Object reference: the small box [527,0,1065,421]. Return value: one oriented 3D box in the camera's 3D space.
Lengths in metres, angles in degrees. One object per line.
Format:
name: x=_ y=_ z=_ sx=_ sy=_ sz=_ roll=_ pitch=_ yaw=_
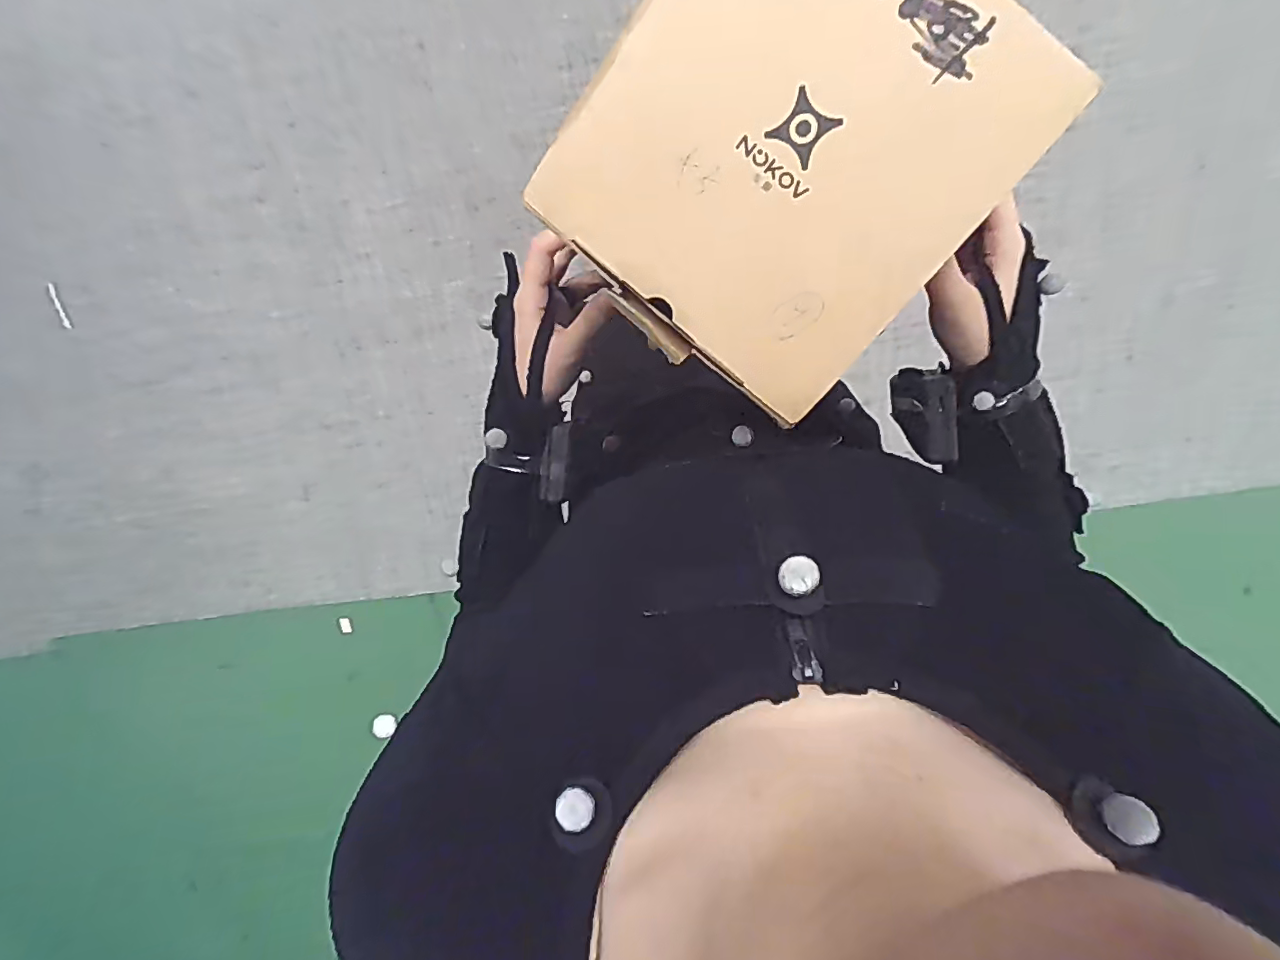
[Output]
small box: x=0.071 y=-0.159 z=0.315 sx=0.168 sy=0.176 sz=0.179 roll=39 pitch=106 yaw=-2
